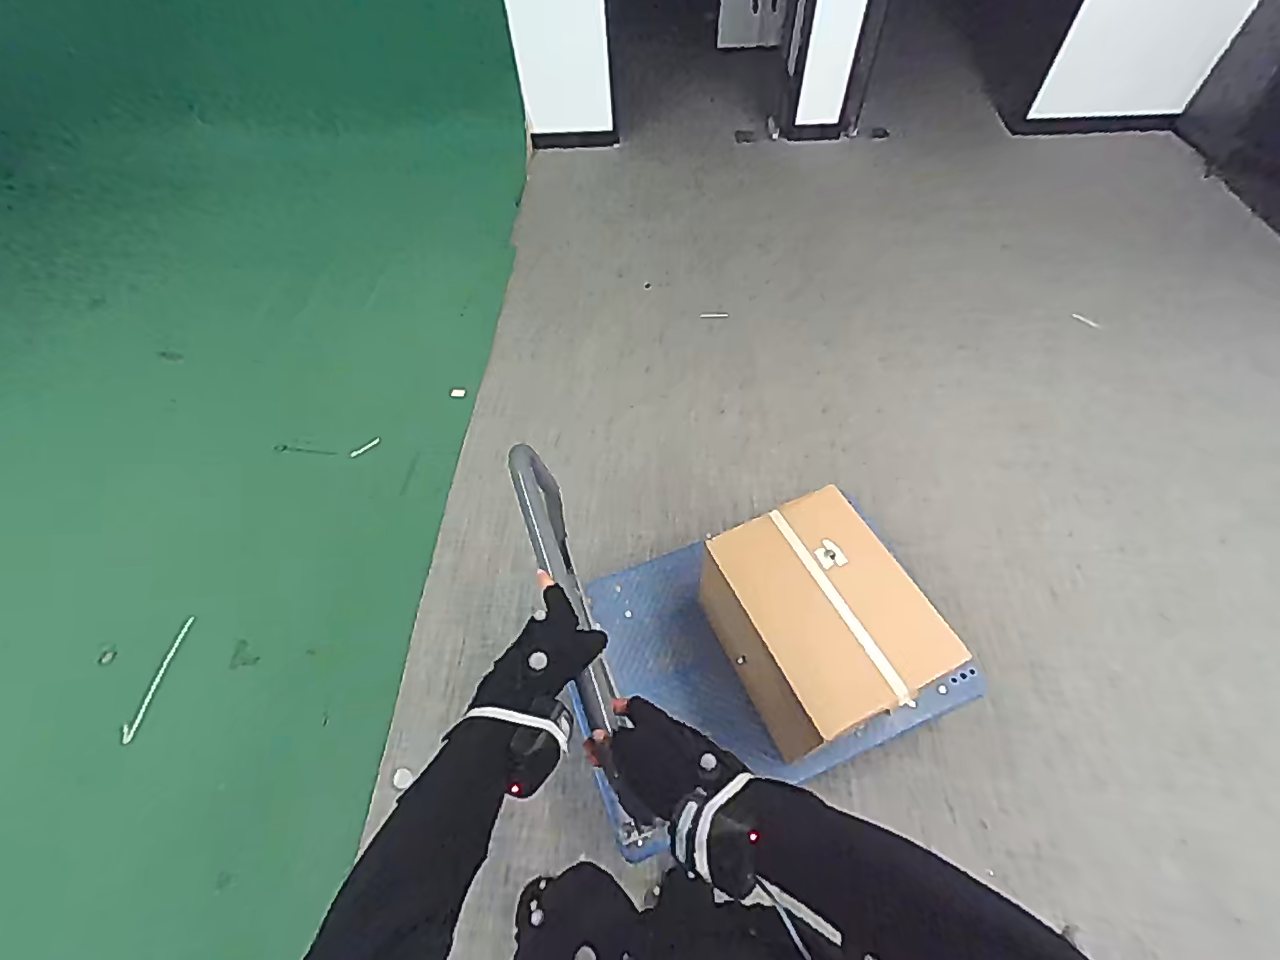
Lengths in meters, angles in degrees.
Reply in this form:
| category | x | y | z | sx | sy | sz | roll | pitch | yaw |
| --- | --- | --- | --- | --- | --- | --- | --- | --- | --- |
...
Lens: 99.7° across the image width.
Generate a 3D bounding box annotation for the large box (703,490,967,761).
| category | x | y | z | sx | sy | sz | roll | pitch | yaw |
| --- | --- | --- | --- | --- | --- | --- | --- | --- | --- |
| large box | 0.365 | 0.307 | 1.142 | 0.320 | 0.320 | 0.408 | -23 | 57 | -12 |
